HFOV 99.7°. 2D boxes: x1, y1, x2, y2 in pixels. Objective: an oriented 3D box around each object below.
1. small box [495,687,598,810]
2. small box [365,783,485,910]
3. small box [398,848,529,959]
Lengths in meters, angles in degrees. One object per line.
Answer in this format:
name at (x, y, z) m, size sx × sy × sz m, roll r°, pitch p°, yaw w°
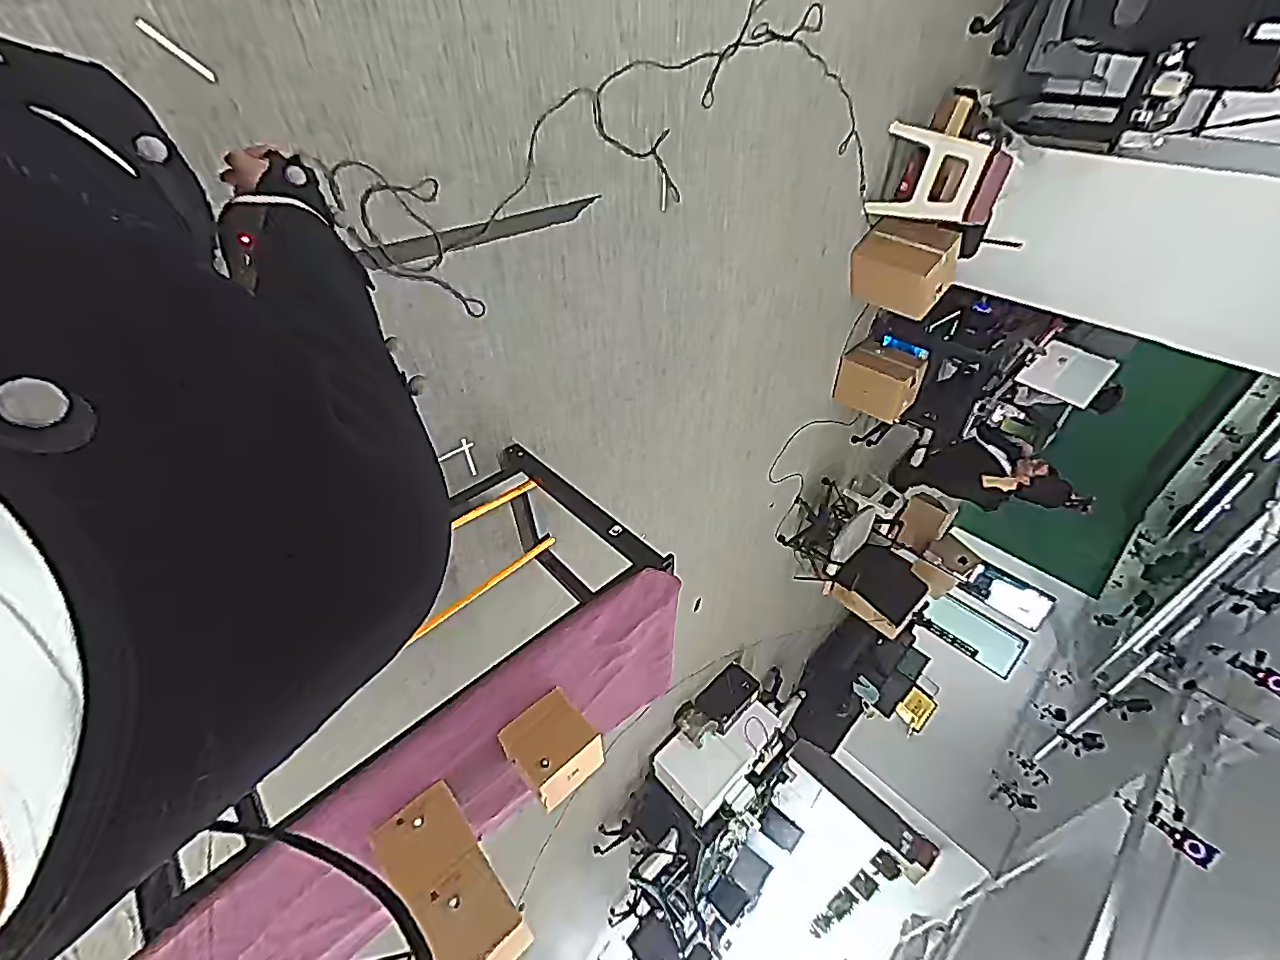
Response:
small box at (-0.223, 0.640, 1.306) m, size 0.179 × 0.176 × 0.168 m, roll -32°, pitch 140°, yaw -31°
small box at (-0.449, 0.787, 1.146) m, size 0.168 × 0.176 × 0.179 m, roll -31°, pitch 139°, yaw -32°
small box at (-0.339, 0.867, 1.052) m, size 0.168 × 0.176 × 0.179 m, roll -32°, pitch 140°, yaw -33°
